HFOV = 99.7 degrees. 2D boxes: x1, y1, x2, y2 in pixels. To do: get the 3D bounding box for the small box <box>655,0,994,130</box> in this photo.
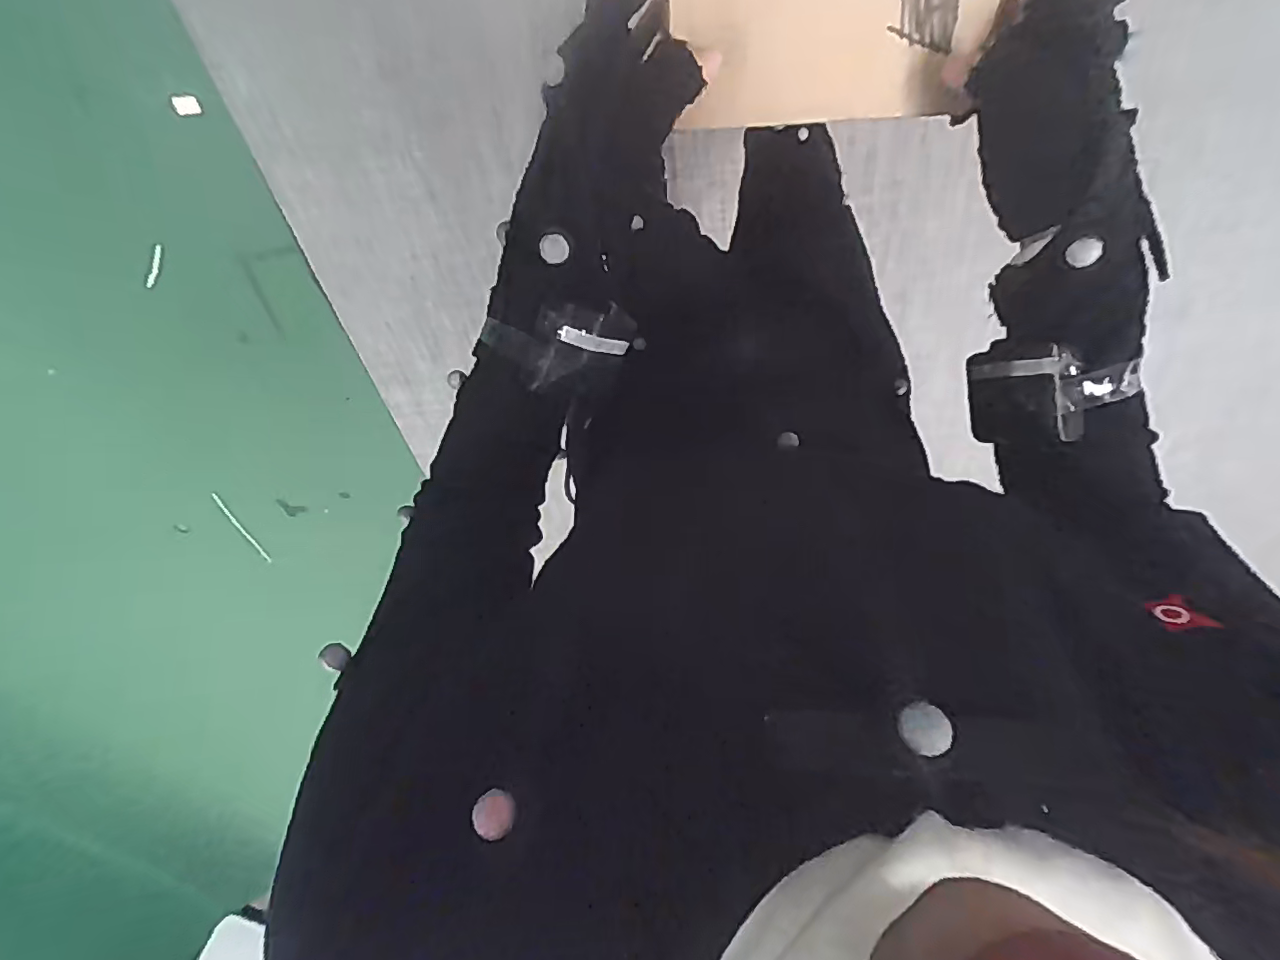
[{"bbox_3d":[0.097,-0.326,0.323,0.179,0.176,0.168,-2,132,3],"label":"small box"}]
